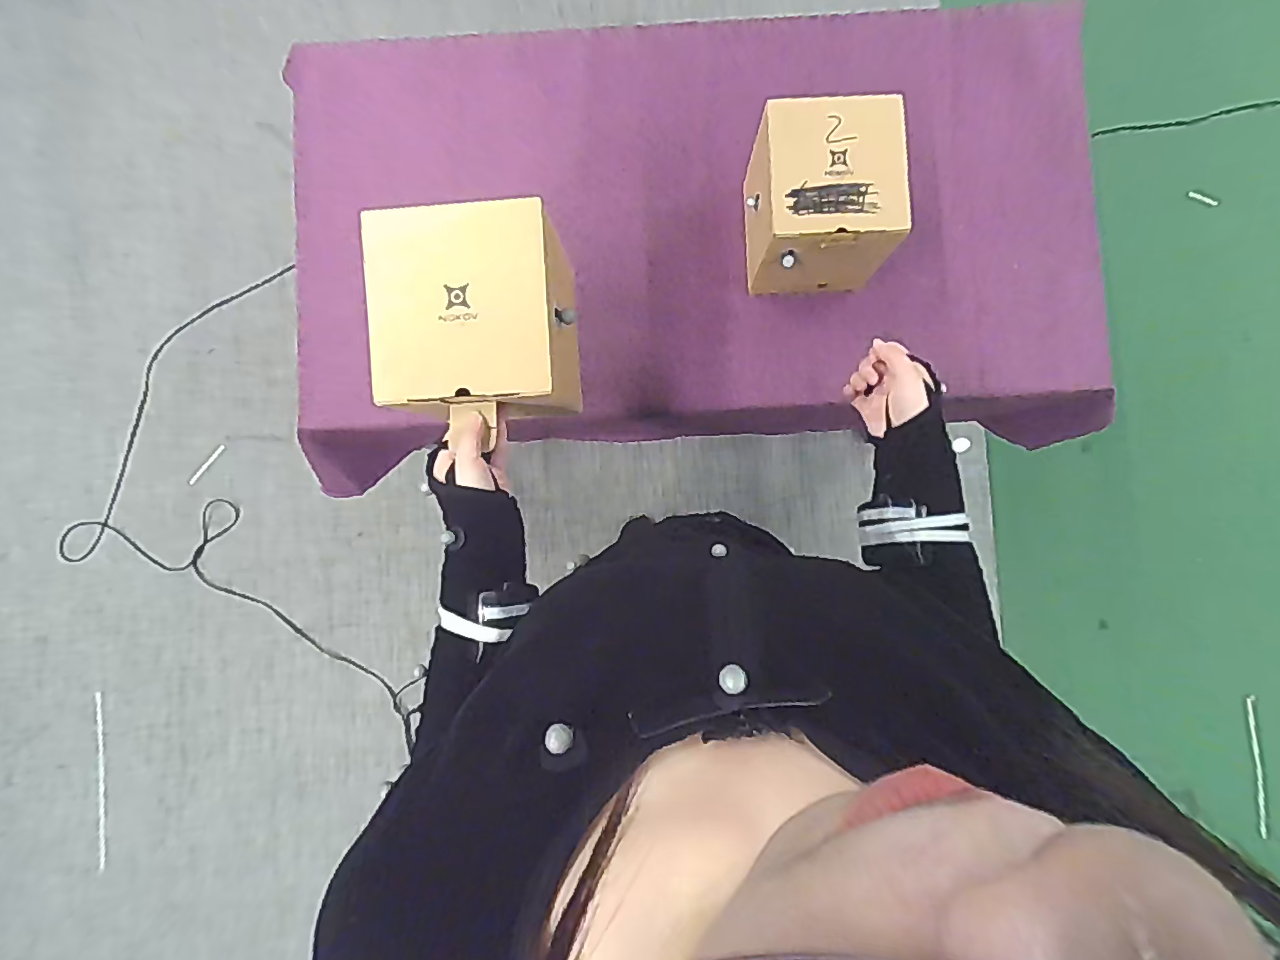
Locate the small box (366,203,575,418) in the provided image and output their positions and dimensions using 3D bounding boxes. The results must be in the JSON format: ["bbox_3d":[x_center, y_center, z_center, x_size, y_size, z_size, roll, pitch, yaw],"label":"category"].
[{"bbox_3d":[-0.166,-0.165,0.578,0.168,0.176,0.179,-3,92,2],"label":"small box"}]
